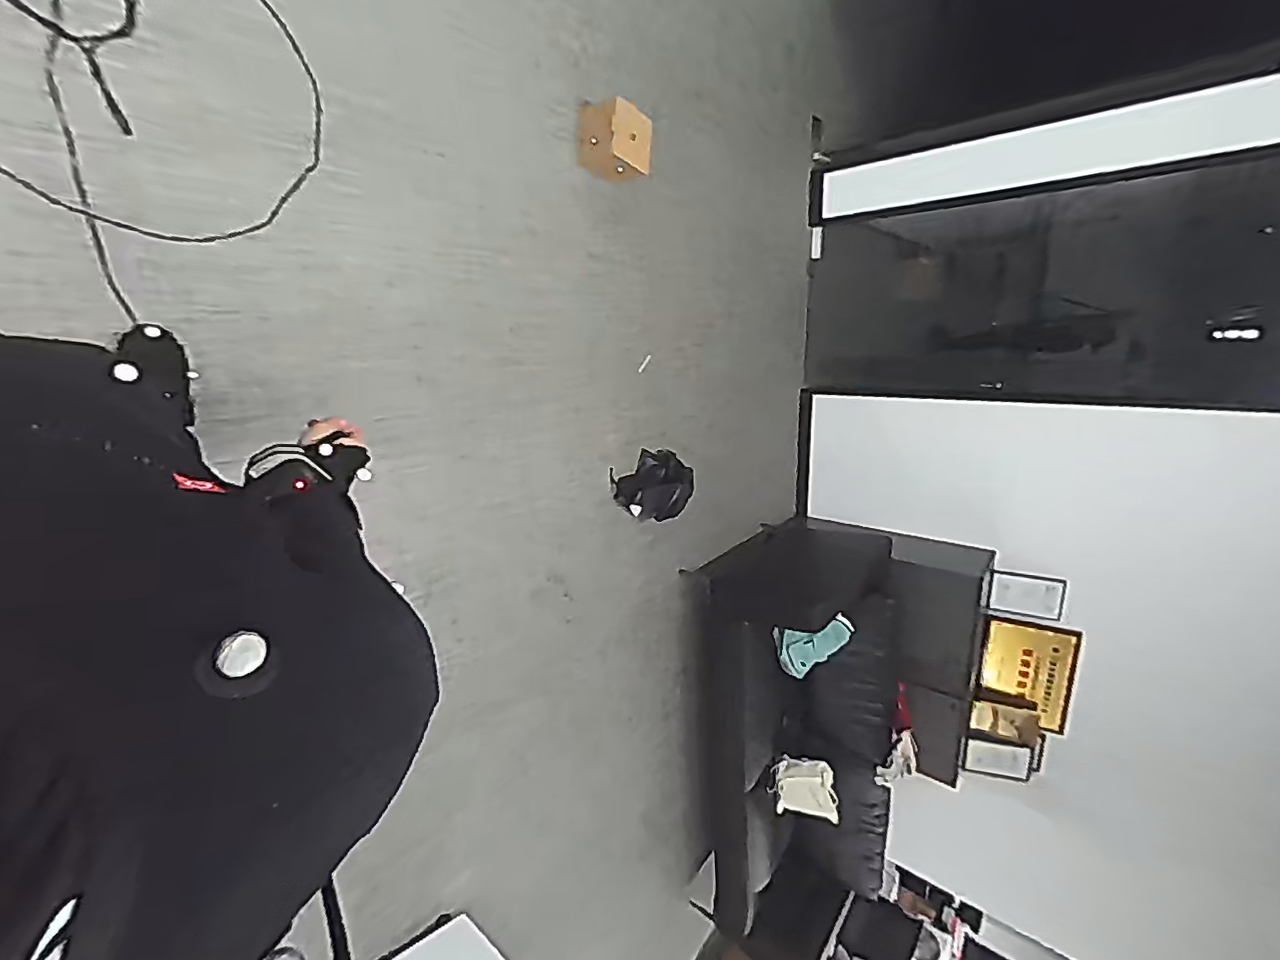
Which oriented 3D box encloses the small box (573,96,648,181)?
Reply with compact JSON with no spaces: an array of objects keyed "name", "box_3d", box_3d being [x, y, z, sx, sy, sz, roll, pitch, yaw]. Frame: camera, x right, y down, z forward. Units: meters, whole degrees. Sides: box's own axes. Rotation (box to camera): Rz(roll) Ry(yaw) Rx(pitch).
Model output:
[{"name":"small box","box_3d":[-0.099,-1.092,1.746,0.179,0.176,0.168,-5,103,-52]}]
